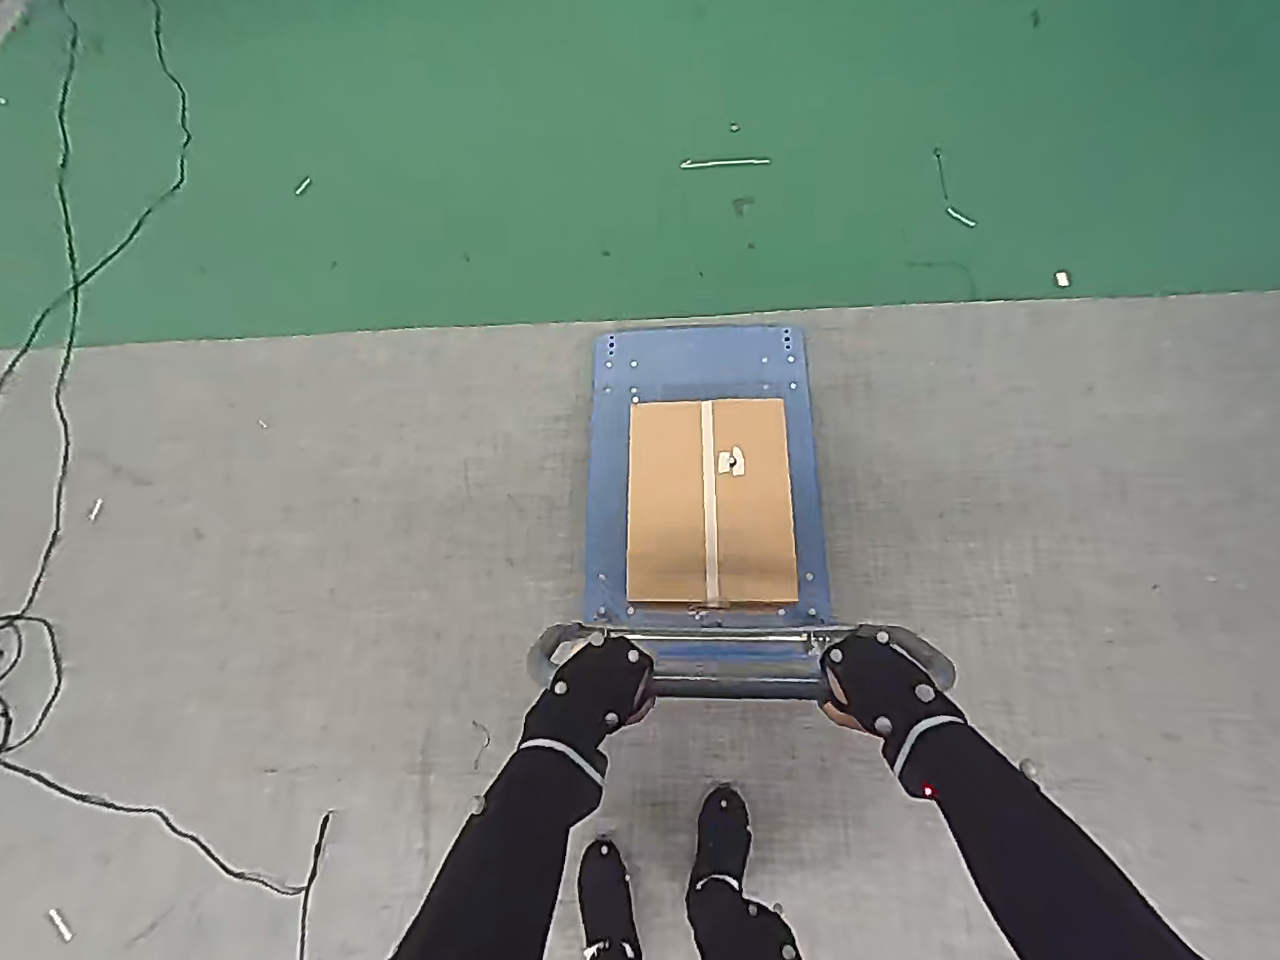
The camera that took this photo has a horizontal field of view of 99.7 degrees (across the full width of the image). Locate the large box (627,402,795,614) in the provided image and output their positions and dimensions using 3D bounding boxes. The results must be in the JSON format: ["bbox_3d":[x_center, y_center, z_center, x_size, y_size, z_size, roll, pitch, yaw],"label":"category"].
[{"bbox_3d":[0.145,0.081,1.204,0.320,0.320,0.408,-1,71,4],"label":"large box"}]
